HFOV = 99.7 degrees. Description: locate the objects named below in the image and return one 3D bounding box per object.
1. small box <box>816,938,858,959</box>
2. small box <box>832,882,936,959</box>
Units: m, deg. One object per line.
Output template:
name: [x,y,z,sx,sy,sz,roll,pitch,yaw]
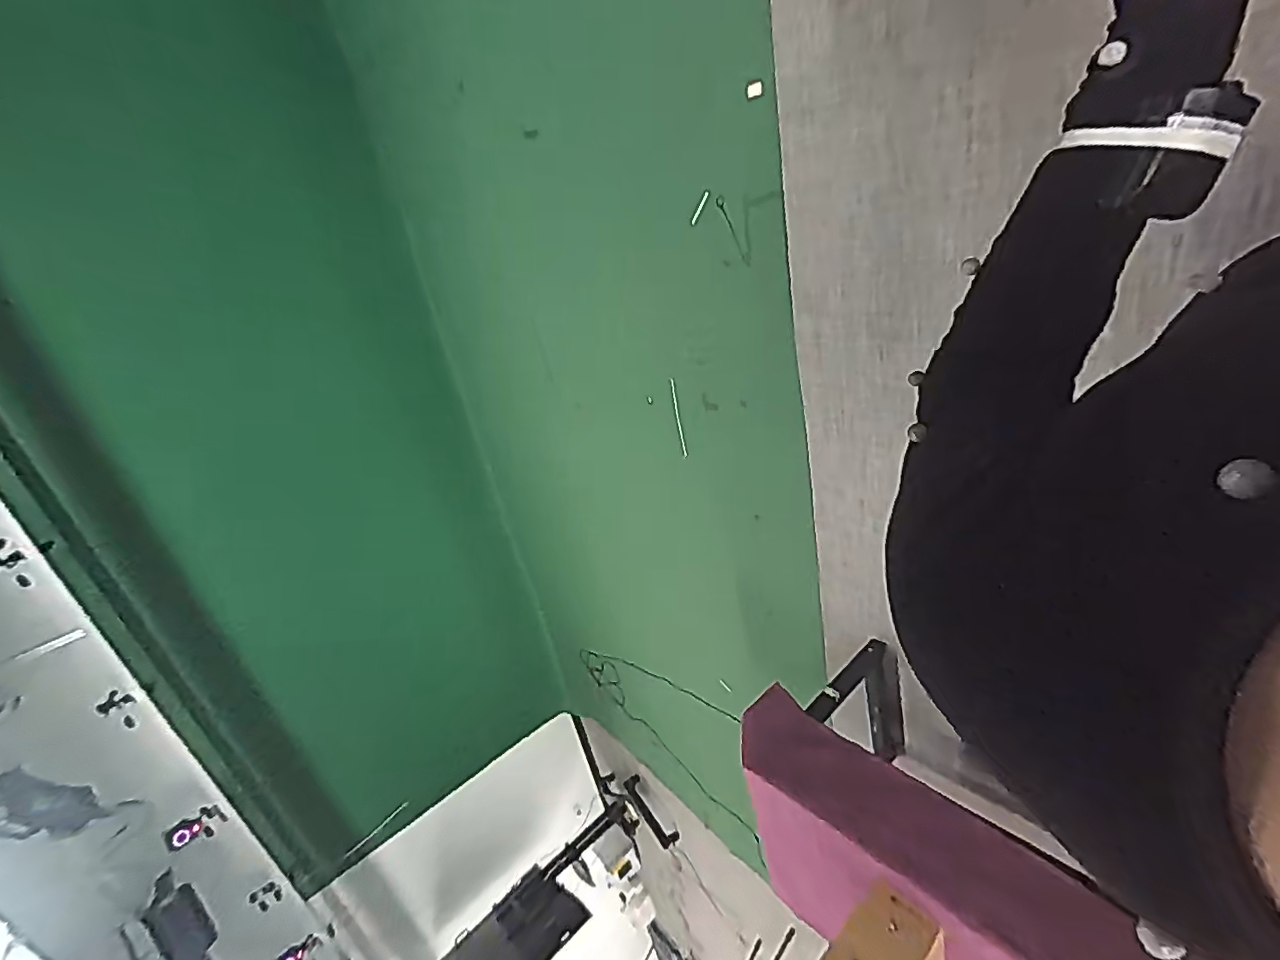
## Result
small box: [0.449,1.172,1.181,0.168,0.176,0.179,18,127,49]
small box: [0.572,1.105,1.265,0.168,0.176,0.179,15,125,51]
